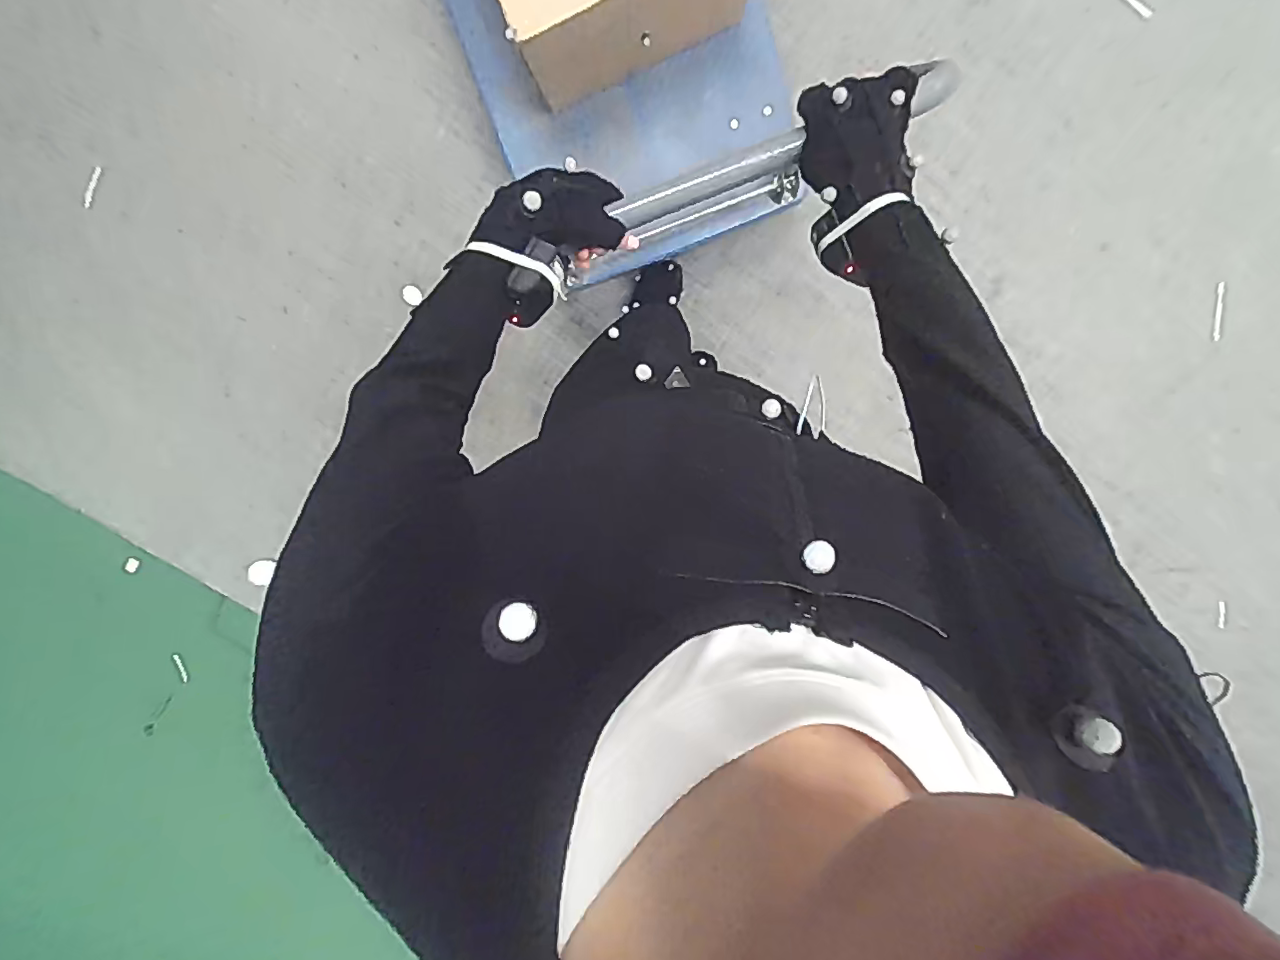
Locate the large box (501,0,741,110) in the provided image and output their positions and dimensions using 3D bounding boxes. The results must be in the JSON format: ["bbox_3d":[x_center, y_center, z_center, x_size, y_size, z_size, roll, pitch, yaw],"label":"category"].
[{"bbox_3d":[-0.053,-0.912,0.895,0.408,0.320,0.320,-22,105,9],"label":"large box"}]
